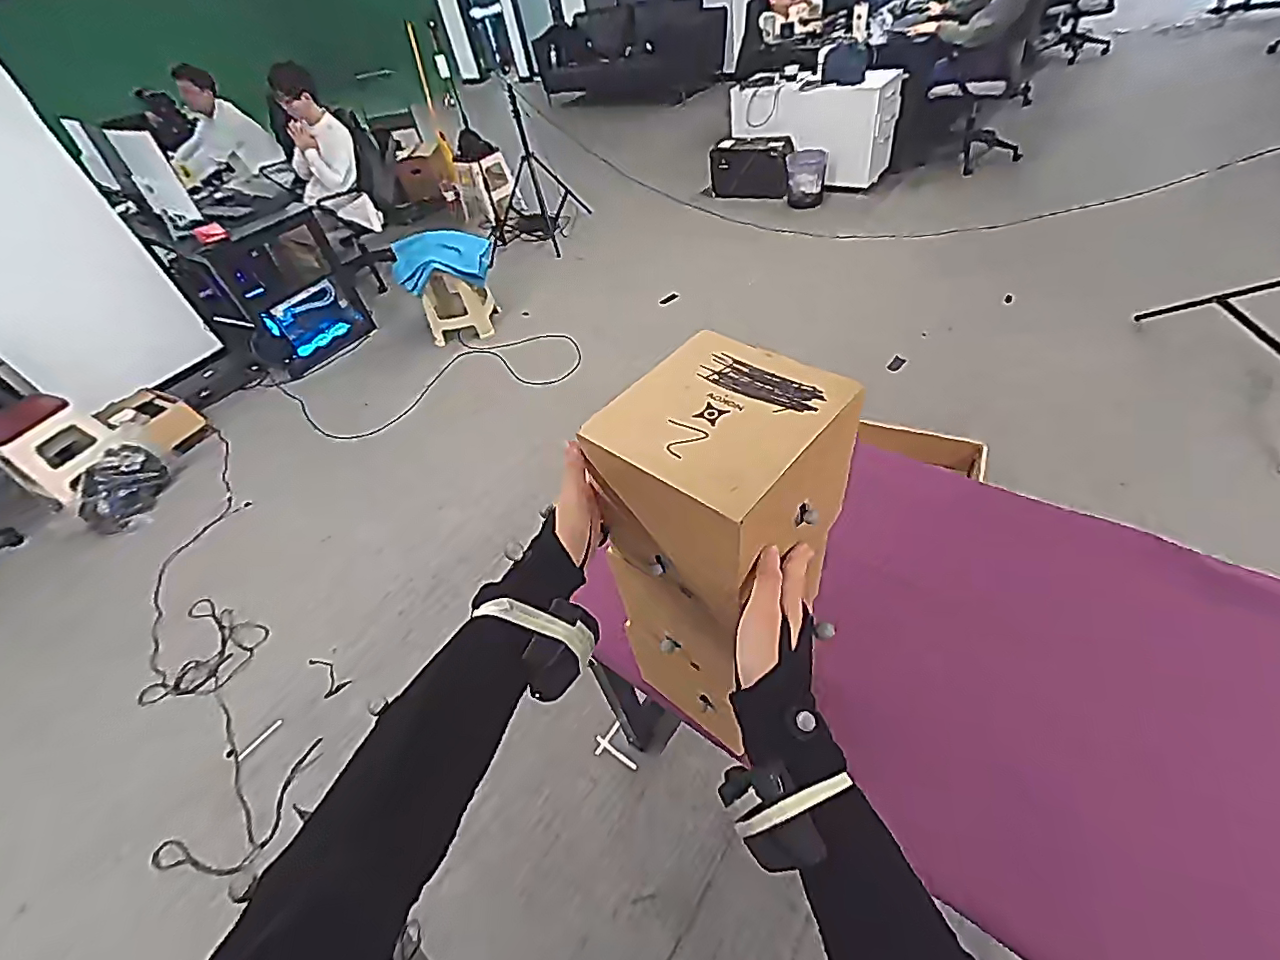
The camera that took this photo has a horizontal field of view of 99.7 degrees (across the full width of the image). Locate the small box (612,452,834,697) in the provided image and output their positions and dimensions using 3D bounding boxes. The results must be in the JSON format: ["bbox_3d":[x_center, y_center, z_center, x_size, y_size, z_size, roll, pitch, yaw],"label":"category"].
[{"bbox_3d":[0.095,0.106,0.614,0.168,0.176,0.179,28,58,32],"label":"small box"}]

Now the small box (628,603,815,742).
[{"bbox_3d":[0.112,0.222,0.729,0.179,0.176,0.168,28,58,33],"label":"small box"}]
